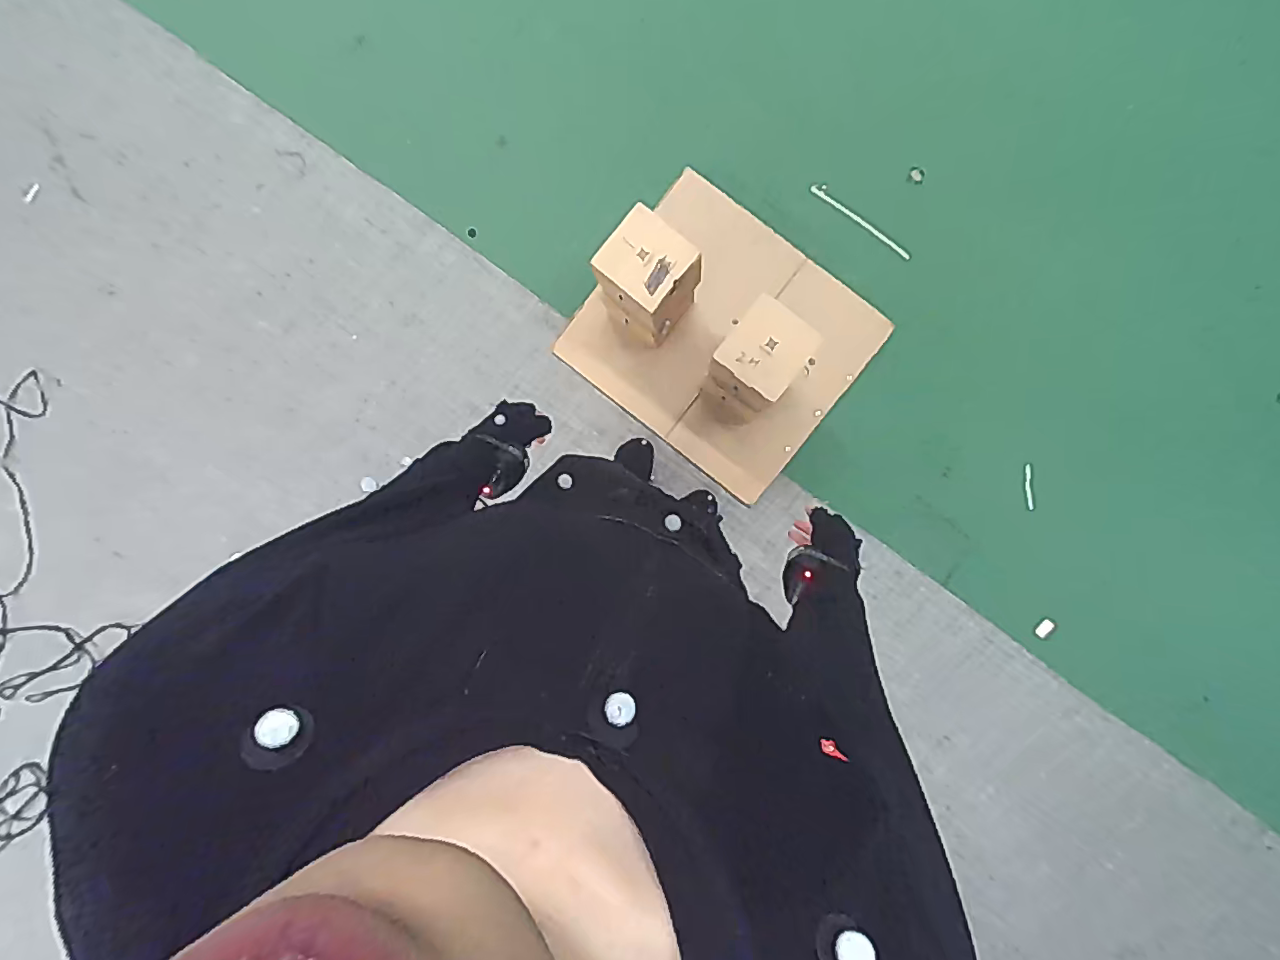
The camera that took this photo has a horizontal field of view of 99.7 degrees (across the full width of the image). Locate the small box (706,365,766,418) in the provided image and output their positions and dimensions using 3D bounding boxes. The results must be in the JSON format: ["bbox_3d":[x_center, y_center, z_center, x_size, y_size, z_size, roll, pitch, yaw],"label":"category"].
[{"bbox_3d":[0.277,-0.273,1.355,0.168,0.176,0.179,36,94,2],"label":"small box"}]

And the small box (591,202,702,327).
[{"bbox_3d":[0.021,-0.463,1.199,0.179,0.176,0.168,41,94,4],"label":"small box"}]

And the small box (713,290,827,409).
[{"bbox_3d":[0.272,-0.277,1.189,0.168,0.176,0.179,39,94,3],"label":"small box"}]
